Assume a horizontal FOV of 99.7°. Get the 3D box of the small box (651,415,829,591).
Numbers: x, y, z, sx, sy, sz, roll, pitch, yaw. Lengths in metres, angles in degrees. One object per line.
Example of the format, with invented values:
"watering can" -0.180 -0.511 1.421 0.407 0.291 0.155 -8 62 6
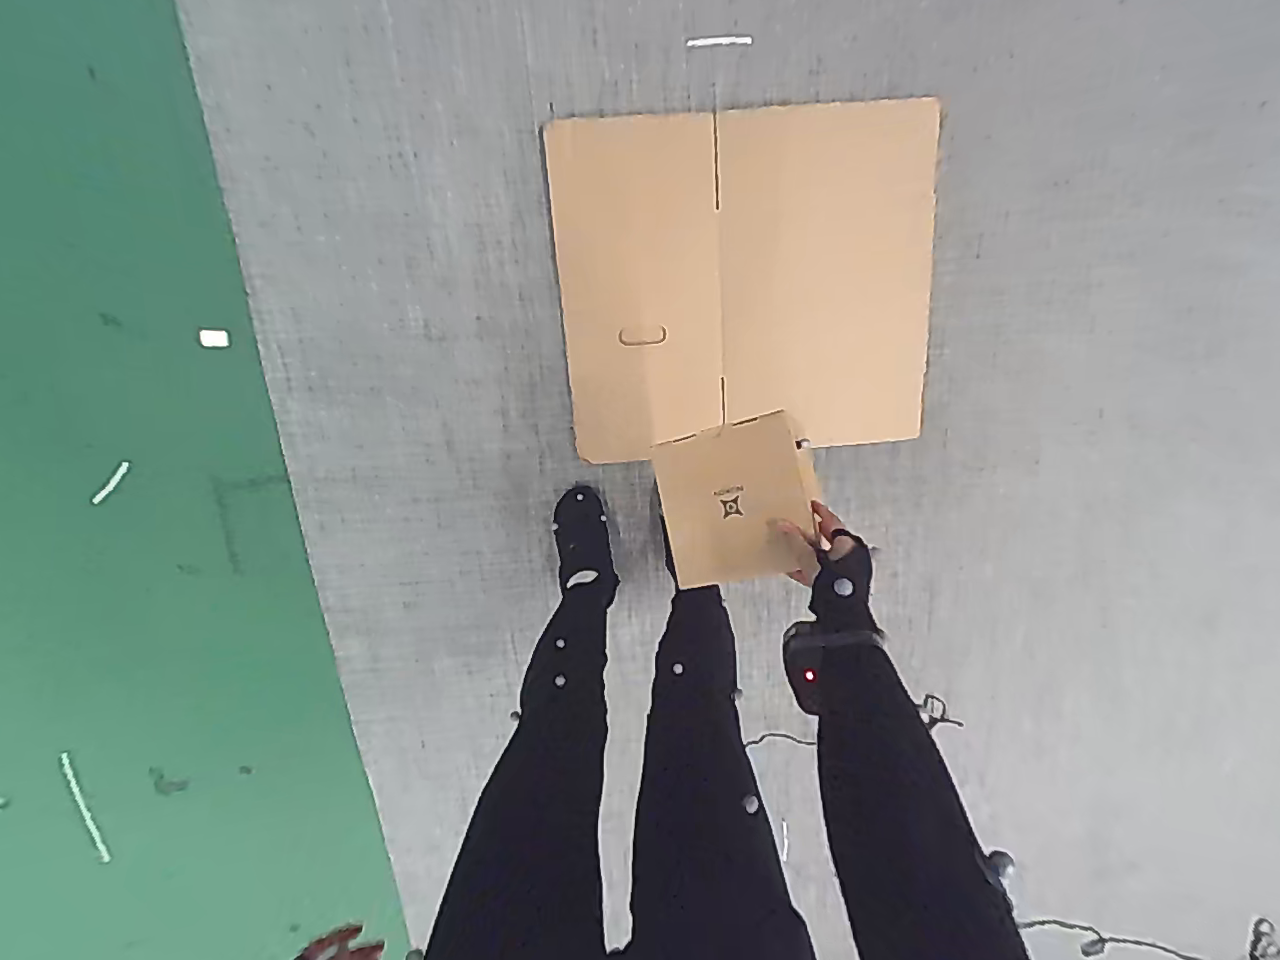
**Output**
"small box" 0.134 0.029 0.685 0.168 0.176 0.179 -15 83 22
